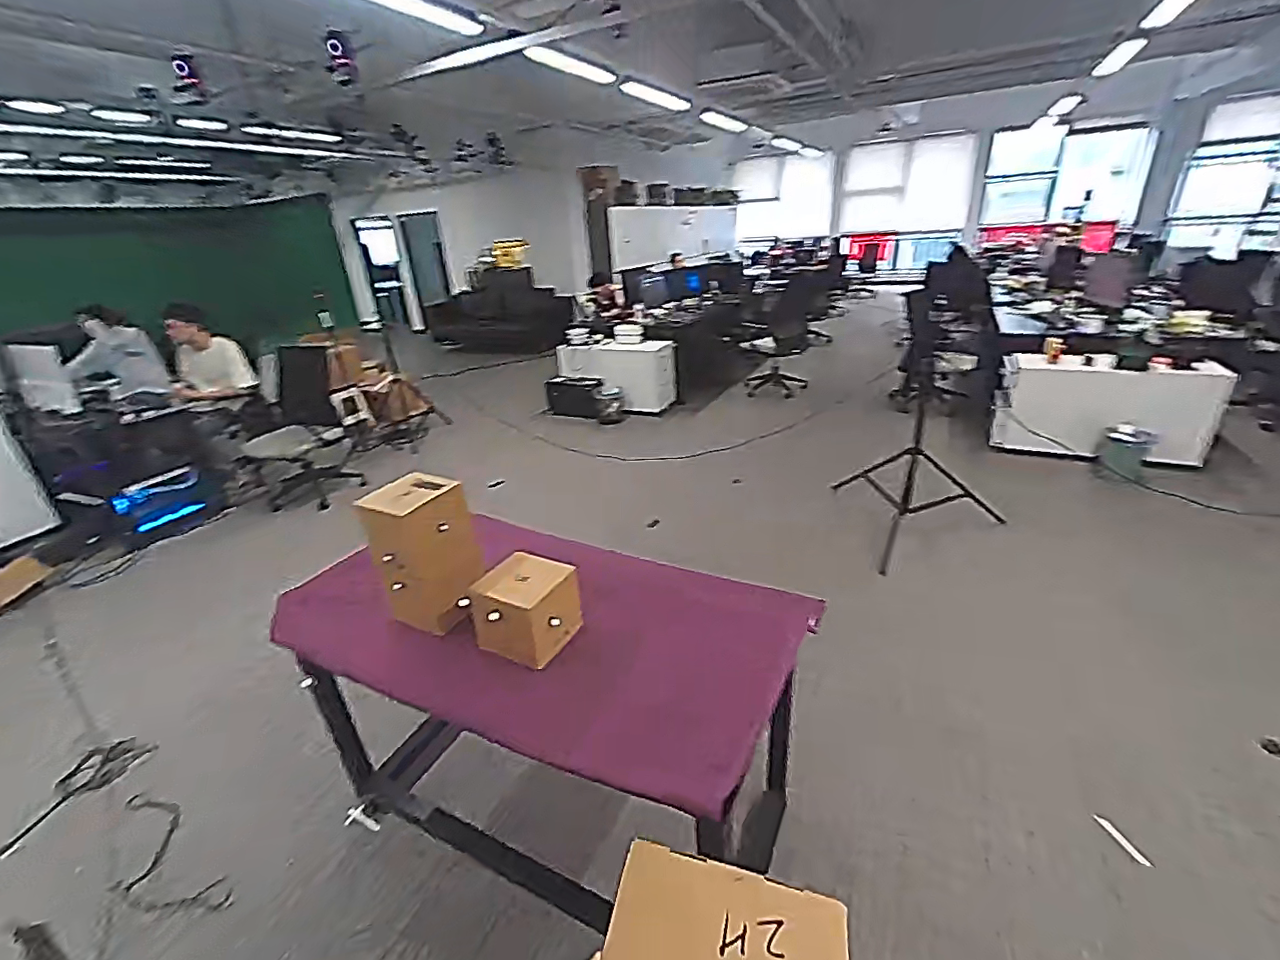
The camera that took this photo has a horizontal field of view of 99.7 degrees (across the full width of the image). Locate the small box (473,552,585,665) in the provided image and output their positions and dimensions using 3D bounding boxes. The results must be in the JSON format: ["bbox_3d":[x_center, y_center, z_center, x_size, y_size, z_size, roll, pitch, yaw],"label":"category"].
[{"bbox_3d":[-0.242,0.290,1.224,0.179,0.176,0.168,9,28,28],"label":"small box"}]

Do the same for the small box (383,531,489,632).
[{"bbox_3d":[-0.497,0.251,1.345,0.179,0.176,0.168,10,29,26],"label":"small box"}]
